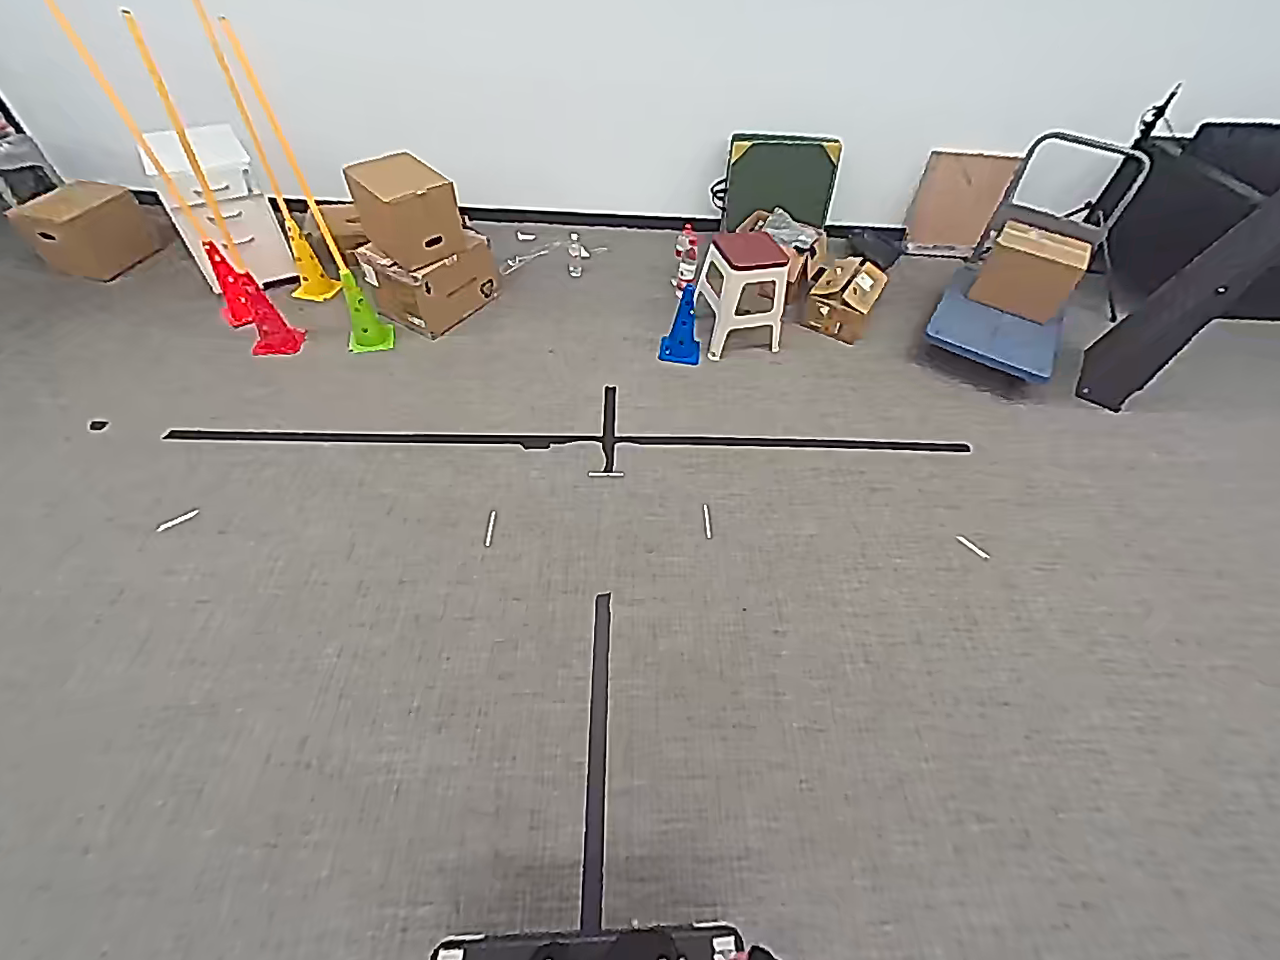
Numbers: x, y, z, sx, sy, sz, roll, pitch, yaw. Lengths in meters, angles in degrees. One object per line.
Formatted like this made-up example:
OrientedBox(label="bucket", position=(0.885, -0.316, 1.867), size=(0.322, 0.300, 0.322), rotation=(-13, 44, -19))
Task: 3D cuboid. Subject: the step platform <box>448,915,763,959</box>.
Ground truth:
OrientedBox(label="step platform", position=(-0.072, 1.101, 1.118), size=(0.684, 0.204, 0.286), rotation=(1, 50, -5))
